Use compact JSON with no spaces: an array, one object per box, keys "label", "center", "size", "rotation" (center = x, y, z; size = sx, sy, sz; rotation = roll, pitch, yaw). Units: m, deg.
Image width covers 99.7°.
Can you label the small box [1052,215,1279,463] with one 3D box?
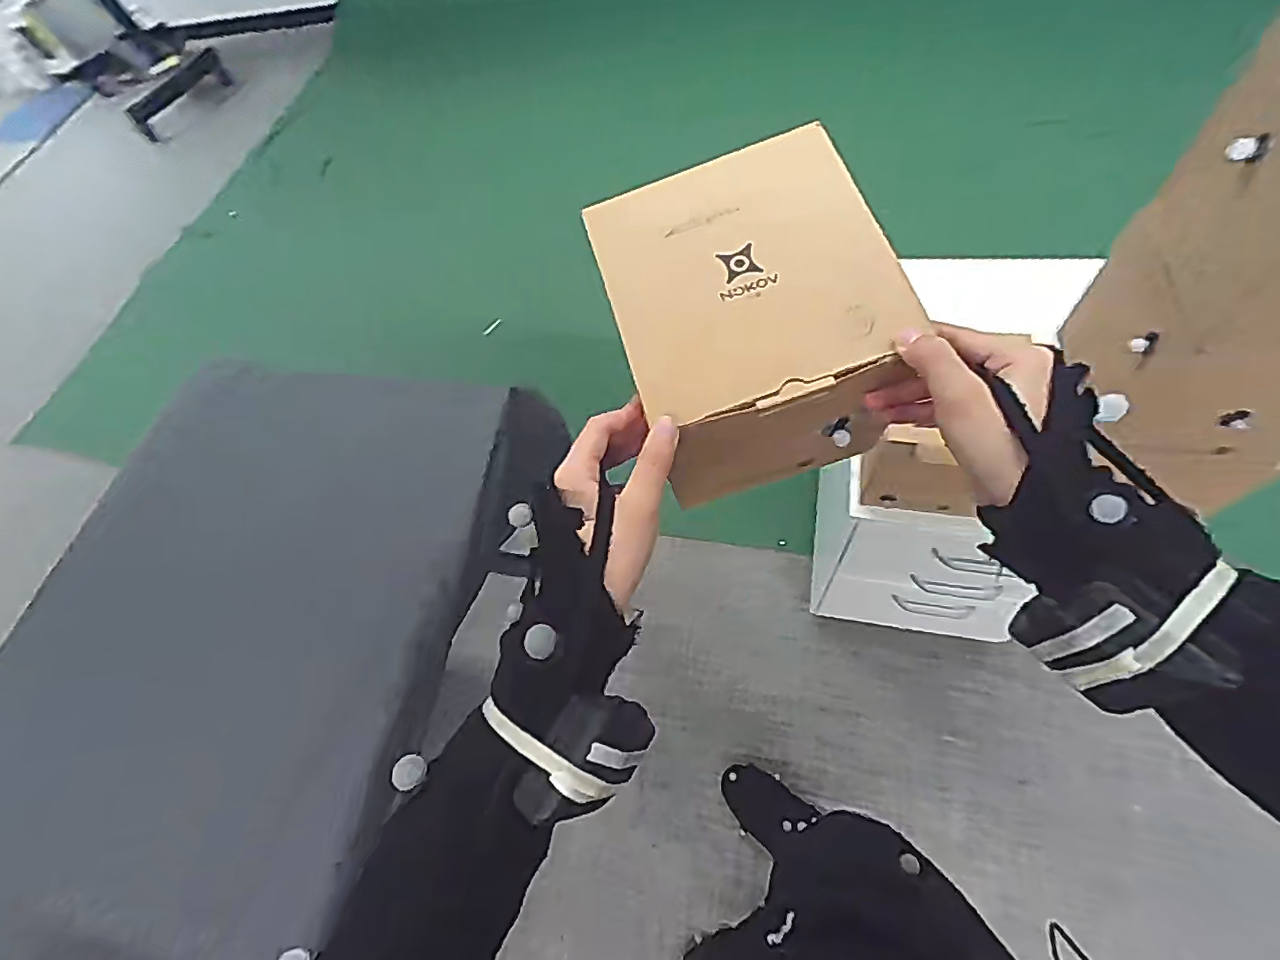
[{"label":"small box","center":[0.539,-0.129,0.519],"size":[0.168,0.176,0.179],"rotation":[3,63,12]}]
